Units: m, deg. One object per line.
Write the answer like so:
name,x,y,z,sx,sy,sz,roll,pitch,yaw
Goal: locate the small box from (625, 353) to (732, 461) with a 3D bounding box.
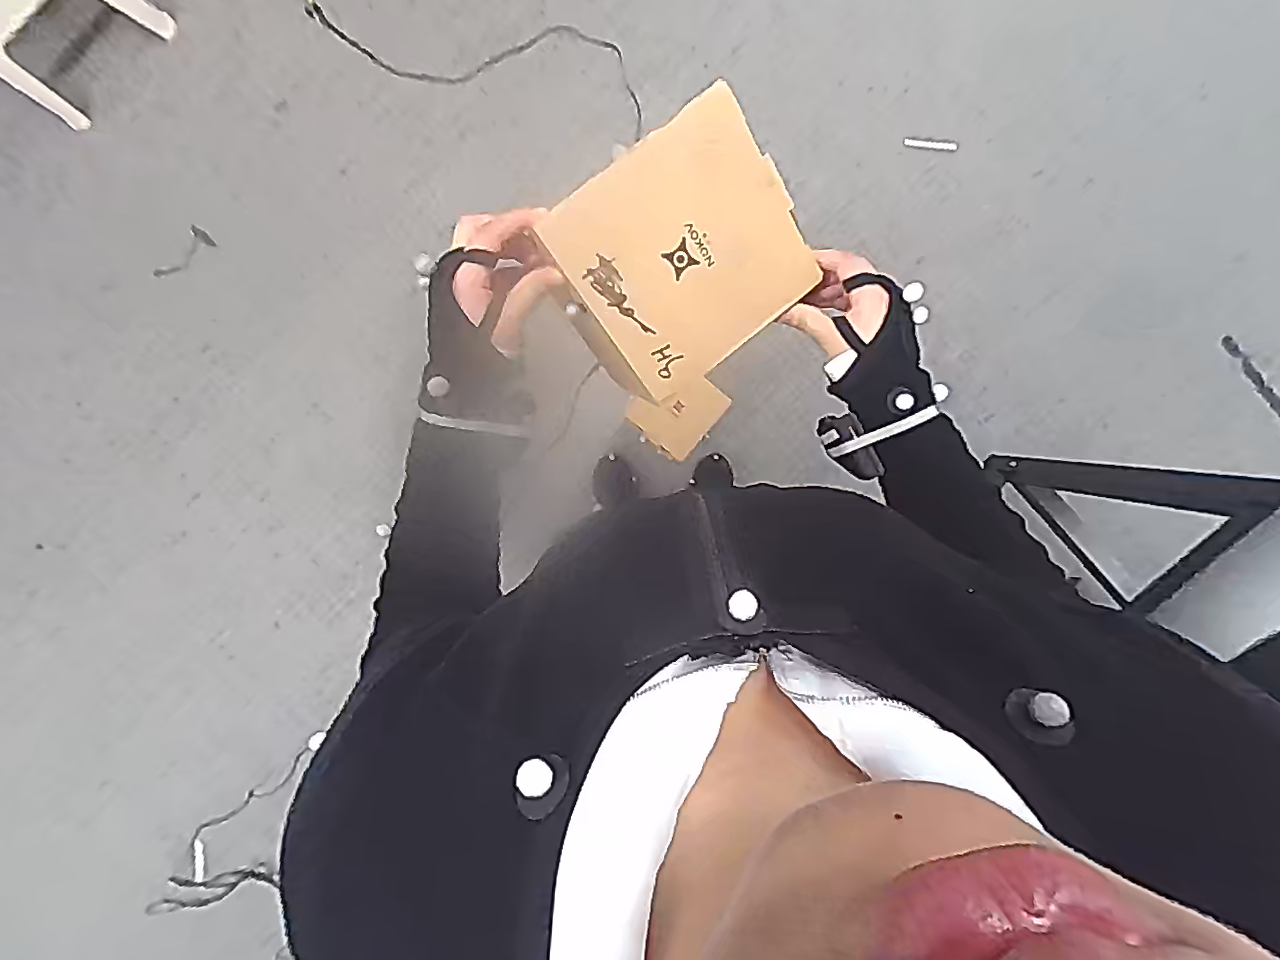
small box,0.083,-0.162,1.240,0.168,0.176,0.179,39,93,-4
